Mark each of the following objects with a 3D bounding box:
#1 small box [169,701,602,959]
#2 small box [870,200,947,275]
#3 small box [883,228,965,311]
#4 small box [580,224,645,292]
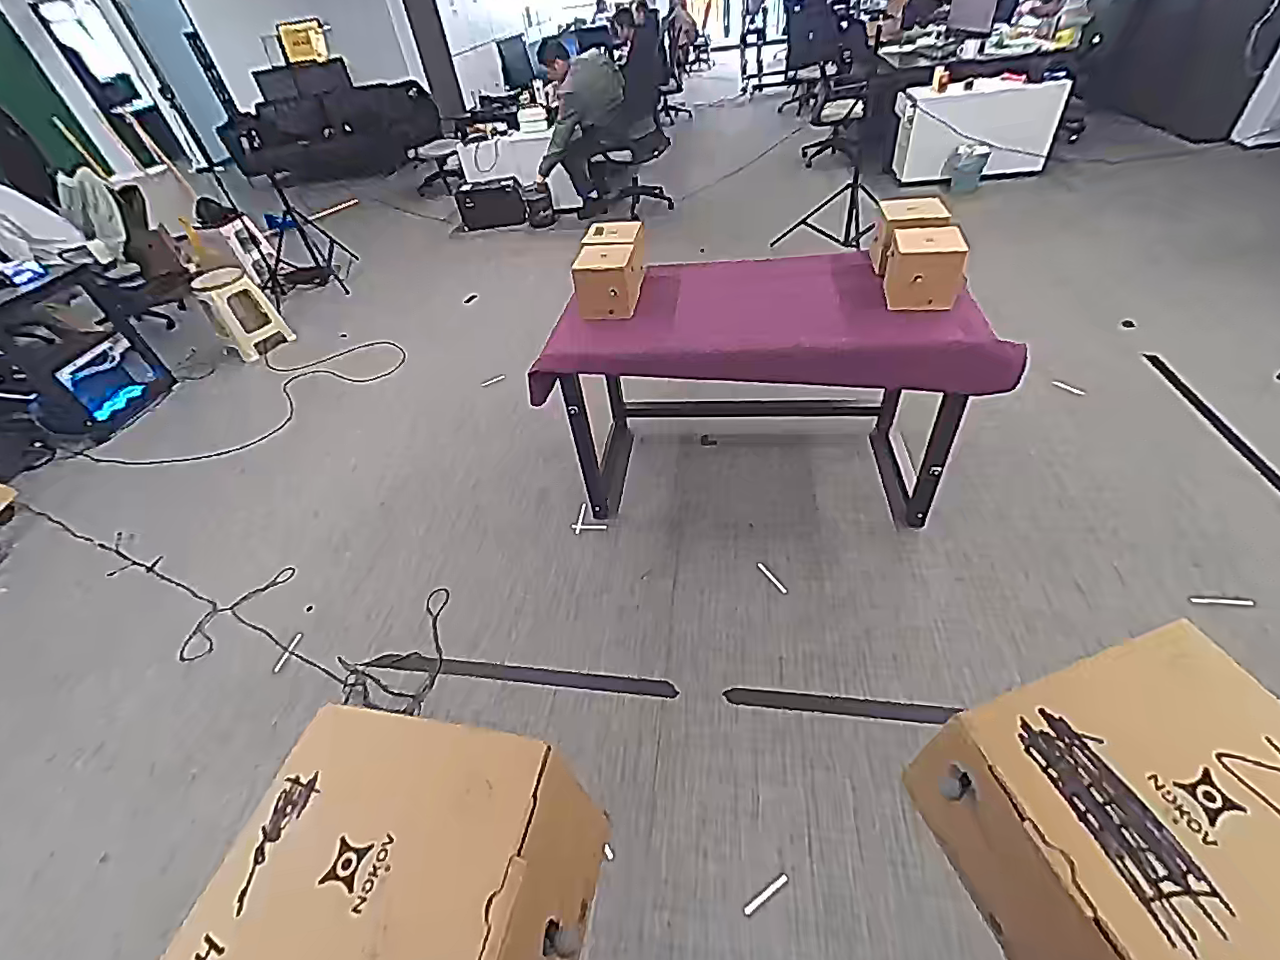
[{"bbox_3d":[-0.136,0.271,0.350,0.179,0.176,0.168,3,44,15],"label":"small box"},{"bbox_3d":[0.824,-0.750,1.680,0.179,0.176,0.168,2,45,11],"label":"small box"},{"bbox_3d":[0.793,-0.591,1.527,0.168,0.176,0.179,4,44,14],"label":"small box"},{"bbox_3d":[-0.086,-0.750,1.833,0.179,0.176,0.168,3,46,11],"label":"small box"}]
